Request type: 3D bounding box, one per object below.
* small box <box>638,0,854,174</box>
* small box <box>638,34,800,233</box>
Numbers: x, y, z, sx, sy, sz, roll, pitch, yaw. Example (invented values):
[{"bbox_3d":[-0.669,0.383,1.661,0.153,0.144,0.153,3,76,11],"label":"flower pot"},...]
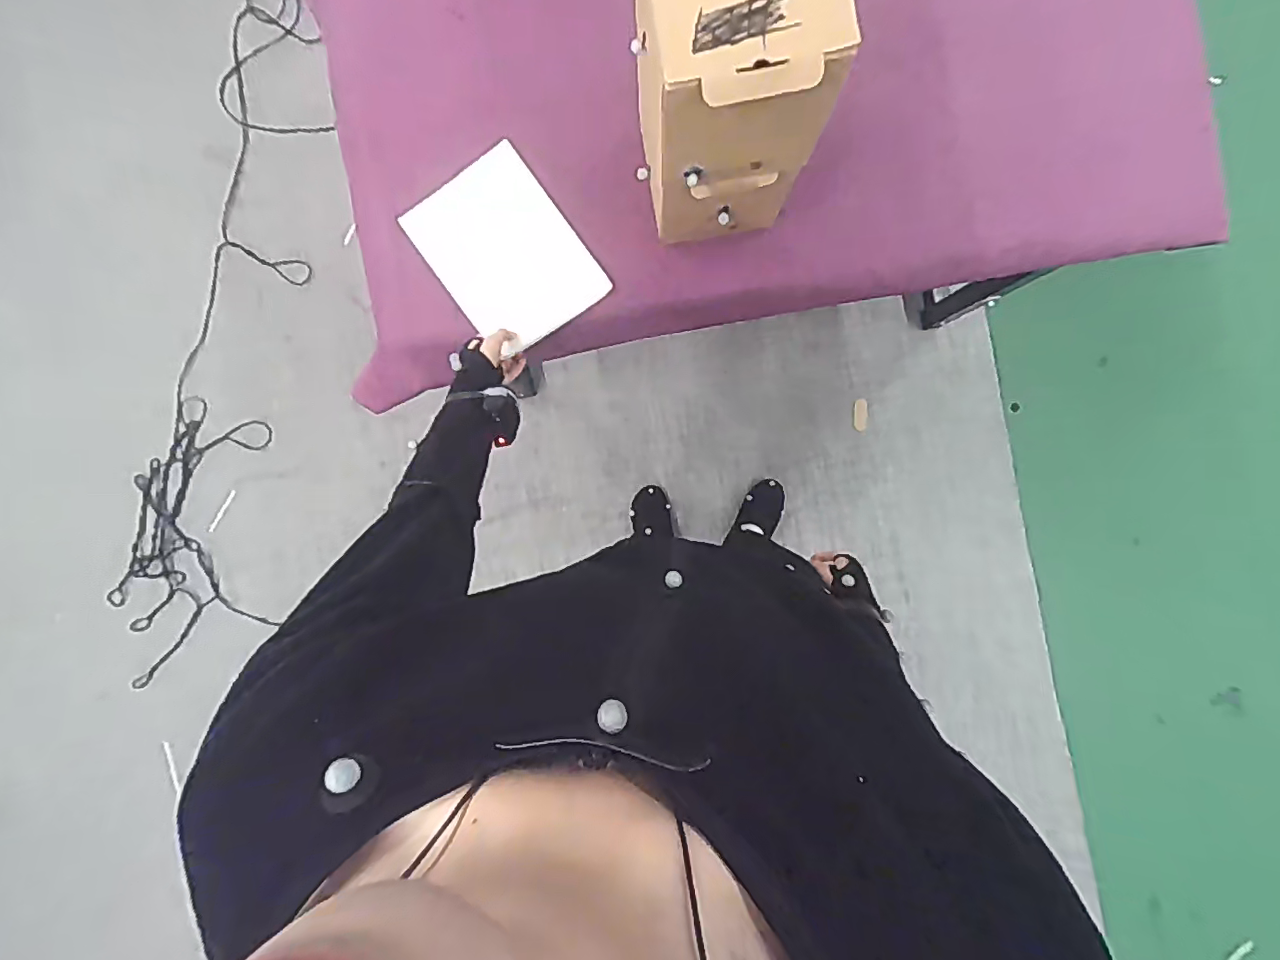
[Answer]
[{"bbox_3d":[0.089,-0.429,0.530,0.168,0.176,0.179,-9,90,2],"label":"small box"},{"bbox_3d":[0.093,-0.439,0.695,0.168,0.176,0.179,-10,92,2],"label":"small box"}]
